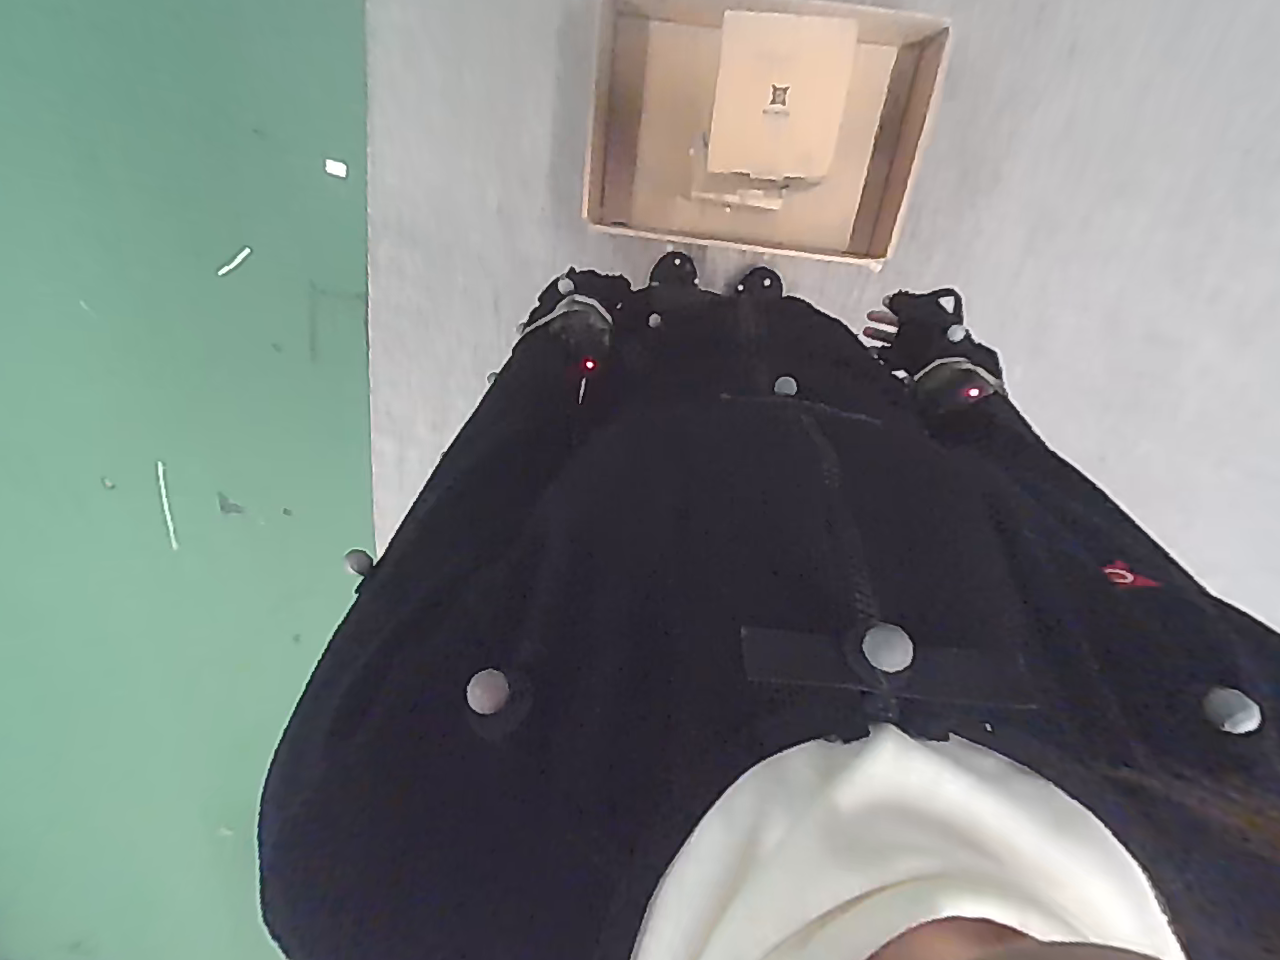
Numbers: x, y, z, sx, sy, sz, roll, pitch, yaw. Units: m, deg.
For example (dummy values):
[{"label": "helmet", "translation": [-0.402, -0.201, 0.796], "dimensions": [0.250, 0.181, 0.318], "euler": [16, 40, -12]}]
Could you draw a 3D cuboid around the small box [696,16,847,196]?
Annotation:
[{"label": "small box", "translation": [0.171, -0.512, 0.767], "dimensions": [0.168, 0.176, 0.179], "euler": [5, 112, 1]}]

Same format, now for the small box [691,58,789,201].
[{"label": "small box", "translation": [0.179, -0.579, 0.915], "dimensions": [0.168, 0.176, 0.179], "euler": [6, 114, 2]}]

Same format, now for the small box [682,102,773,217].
[{"label": "small box", "translation": [0.185, -0.633, 1.086], "dimensions": [0.179, 0.176, 0.168], "euler": [10, 113, 1]}]
